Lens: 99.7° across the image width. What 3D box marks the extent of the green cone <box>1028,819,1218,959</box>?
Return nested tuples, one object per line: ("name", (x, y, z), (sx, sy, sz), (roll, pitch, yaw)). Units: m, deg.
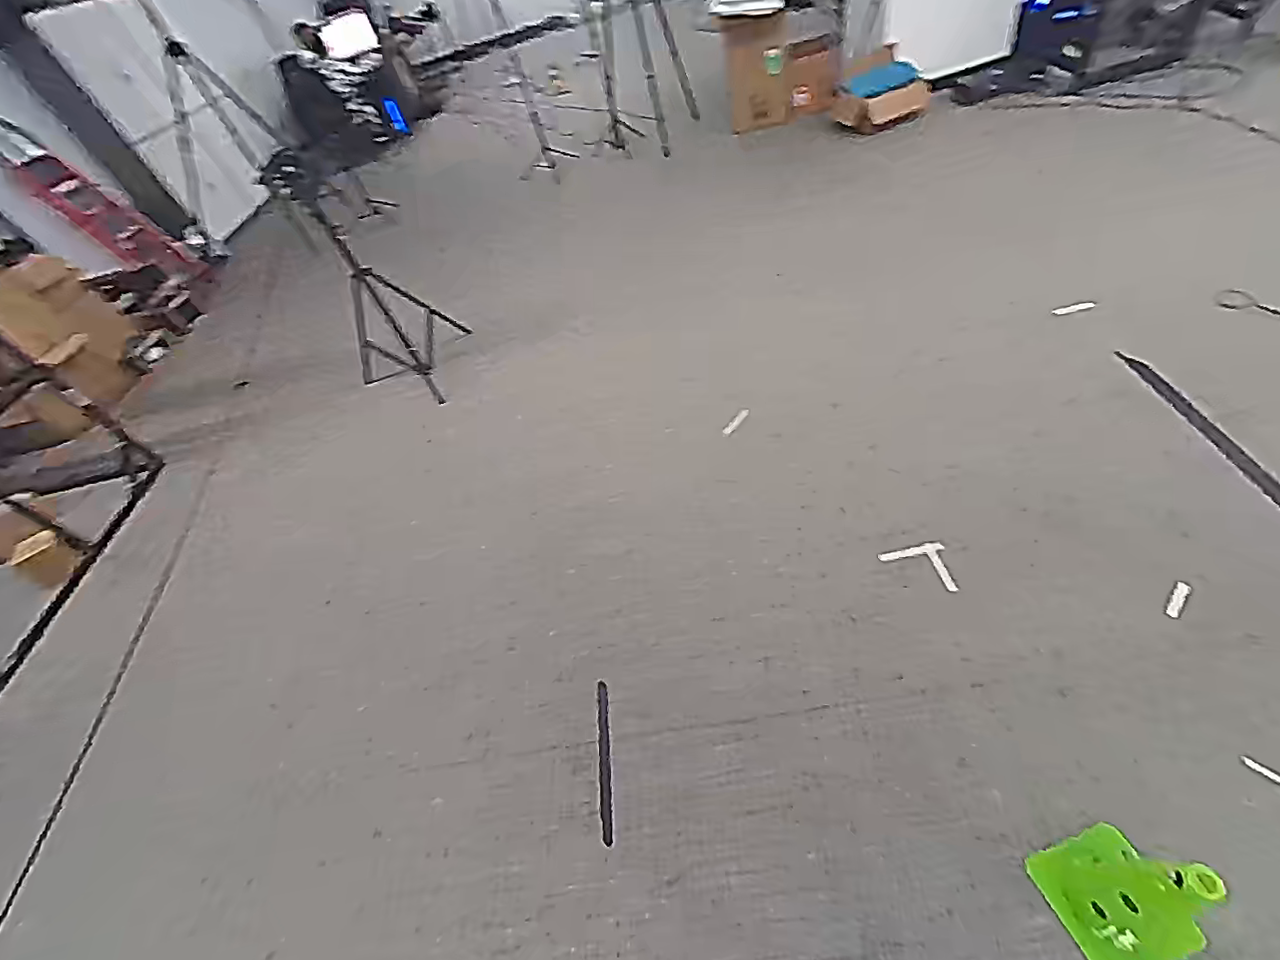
("green cone", (0.833, 0.658, 0.880), (0.200, 0.368, 0.202), (-24, 45, -3))
